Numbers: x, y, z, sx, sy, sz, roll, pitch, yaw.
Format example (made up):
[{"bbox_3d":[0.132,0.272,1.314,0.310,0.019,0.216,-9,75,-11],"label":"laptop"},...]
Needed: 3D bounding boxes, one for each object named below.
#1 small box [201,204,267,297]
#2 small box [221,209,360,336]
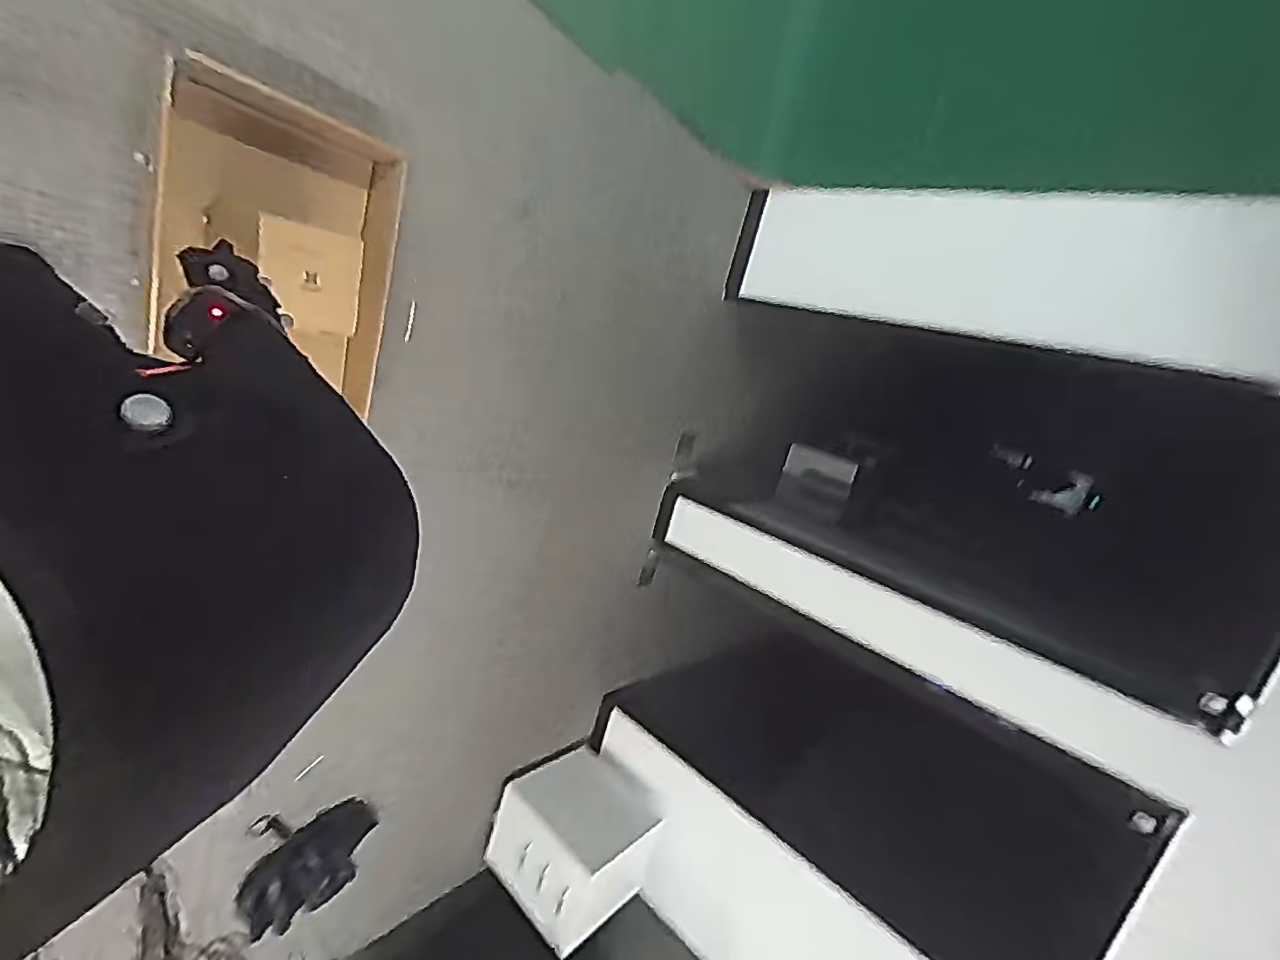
[{"bbox_3d":[-0.748,-0.436,1.082,0.179,0.176,0.168,-2,112,-53],"label":"small box"},{"bbox_3d":[-0.627,-0.369,0.970,0.168,0.176,0.179,-11,119,-50],"label":"small box"}]
